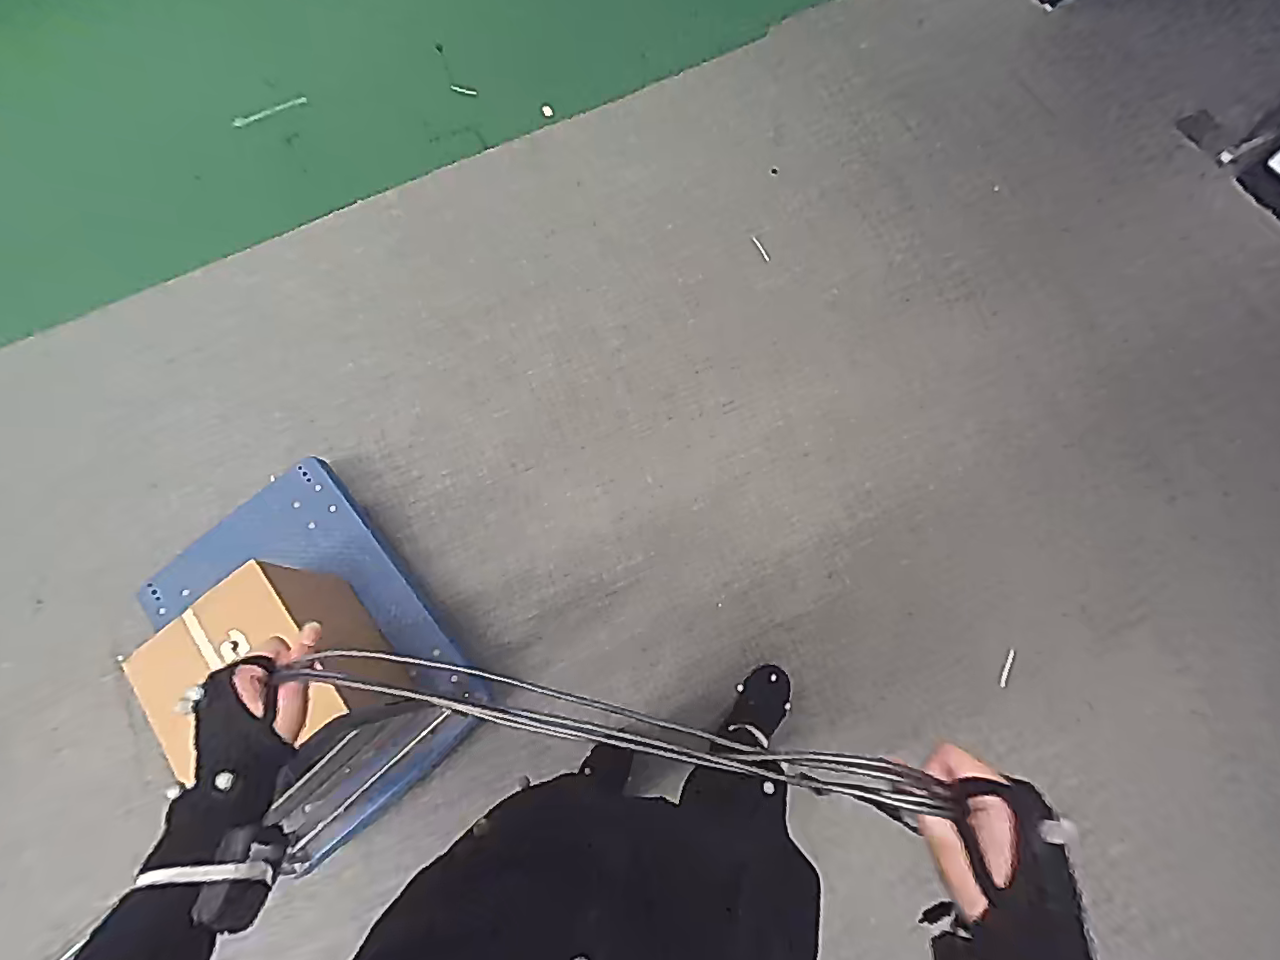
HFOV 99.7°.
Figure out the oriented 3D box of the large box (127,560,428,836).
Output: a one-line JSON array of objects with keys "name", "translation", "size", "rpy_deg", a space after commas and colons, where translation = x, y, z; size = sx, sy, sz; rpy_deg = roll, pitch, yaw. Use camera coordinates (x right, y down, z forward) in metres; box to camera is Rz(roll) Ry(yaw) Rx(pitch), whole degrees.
[{"name": "large box", "translation": [-0.748, 0.440, 1.163], "size": [0.320, 0.320, 0.408], "rpy_deg": [-41, 73, -9]}]
